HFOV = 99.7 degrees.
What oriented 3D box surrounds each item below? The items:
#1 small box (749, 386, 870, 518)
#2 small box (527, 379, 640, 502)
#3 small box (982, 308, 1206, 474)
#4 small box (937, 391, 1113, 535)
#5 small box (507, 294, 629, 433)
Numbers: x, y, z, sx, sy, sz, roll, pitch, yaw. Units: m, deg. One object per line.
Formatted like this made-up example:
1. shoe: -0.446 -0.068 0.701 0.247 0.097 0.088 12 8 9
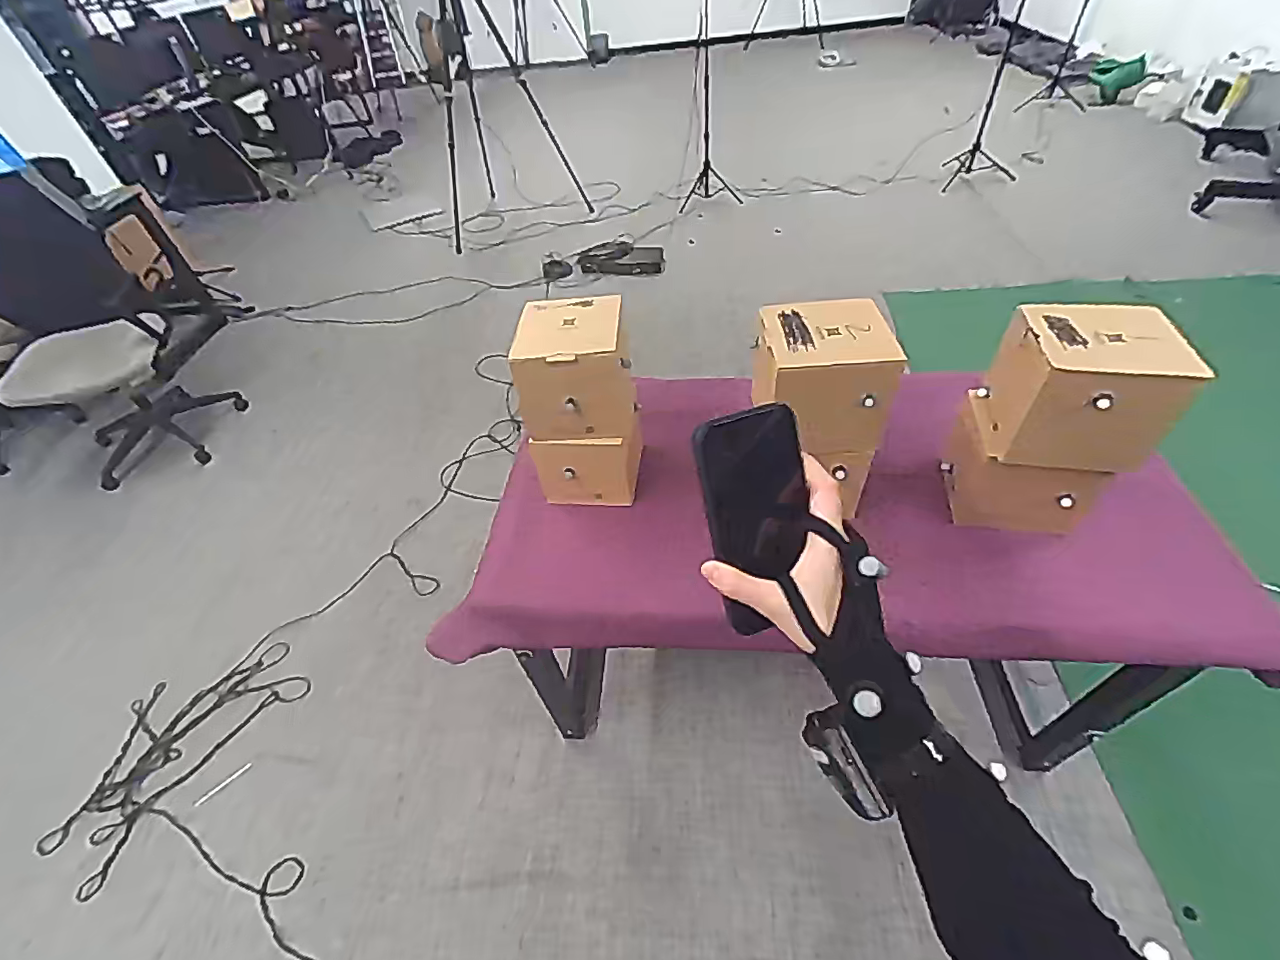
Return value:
1. small box: 0.288 -0.047 0.958 0.179 0.176 0.168 2 47 9
2. small box: -0.096 -0.074 1.030 0.168 0.176 0.179 2 47 9
3. small box: 0.615 -0.125 0.770 0.179 0.176 0.168 7 48 12
4. small box: 0.623 -0.026 0.900 0.179 0.176 0.168 6 48 13
5. small box: -0.109 -0.192 0.916 0.168 0.176 0.179 -1 48 5
